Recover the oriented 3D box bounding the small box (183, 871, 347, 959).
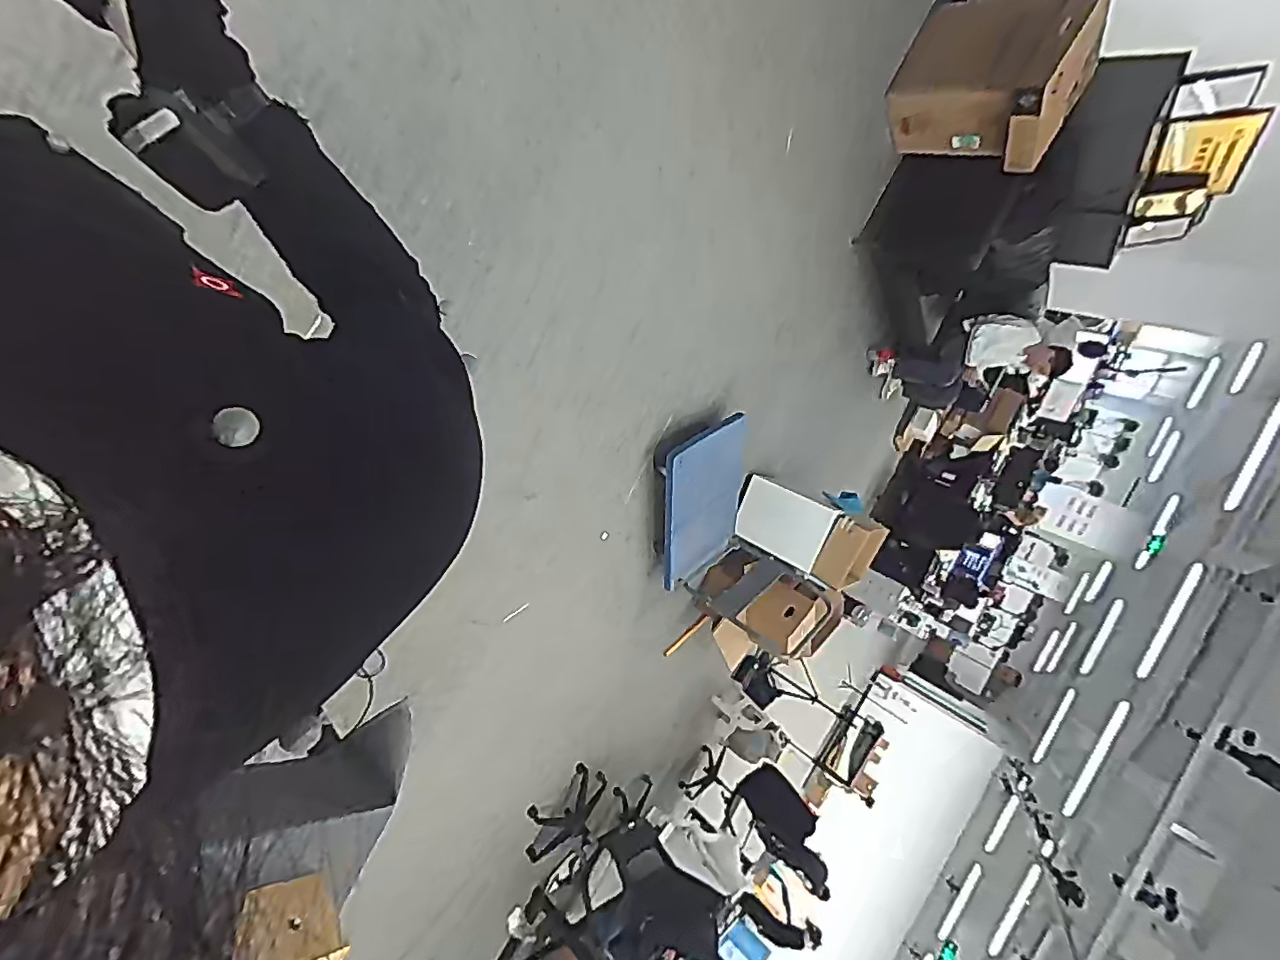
[{"bbox_3d":[-0.672,0.847,0.957,0.168,0.176,0.179,-60,145,-2],"label":"small box"}]
